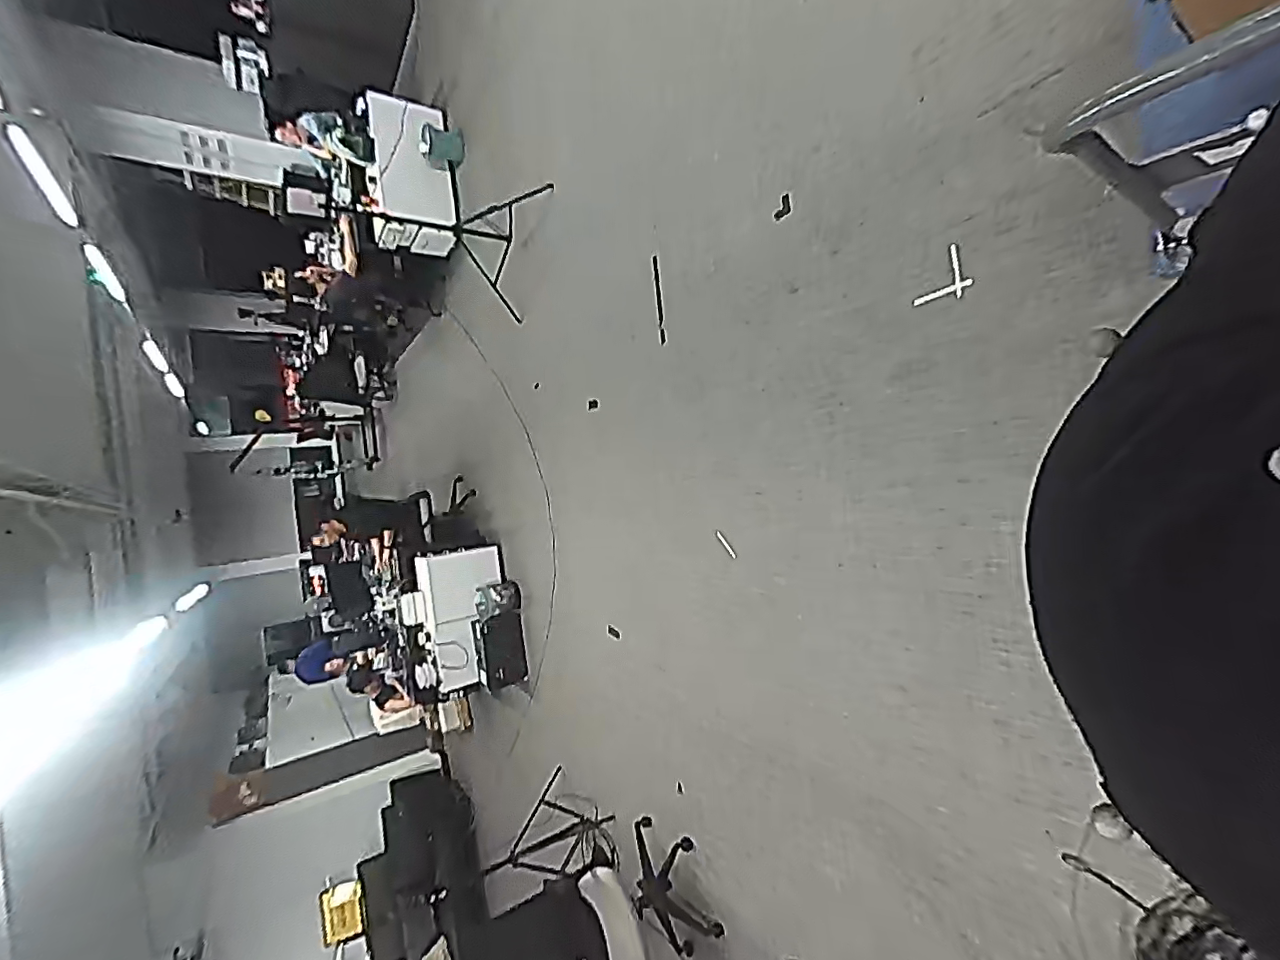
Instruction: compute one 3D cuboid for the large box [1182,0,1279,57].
[{"bbox_3d":[0.951,-0.831,0.644,0.408,0.320,0.320,0,95,57],"label":"large box"}]
